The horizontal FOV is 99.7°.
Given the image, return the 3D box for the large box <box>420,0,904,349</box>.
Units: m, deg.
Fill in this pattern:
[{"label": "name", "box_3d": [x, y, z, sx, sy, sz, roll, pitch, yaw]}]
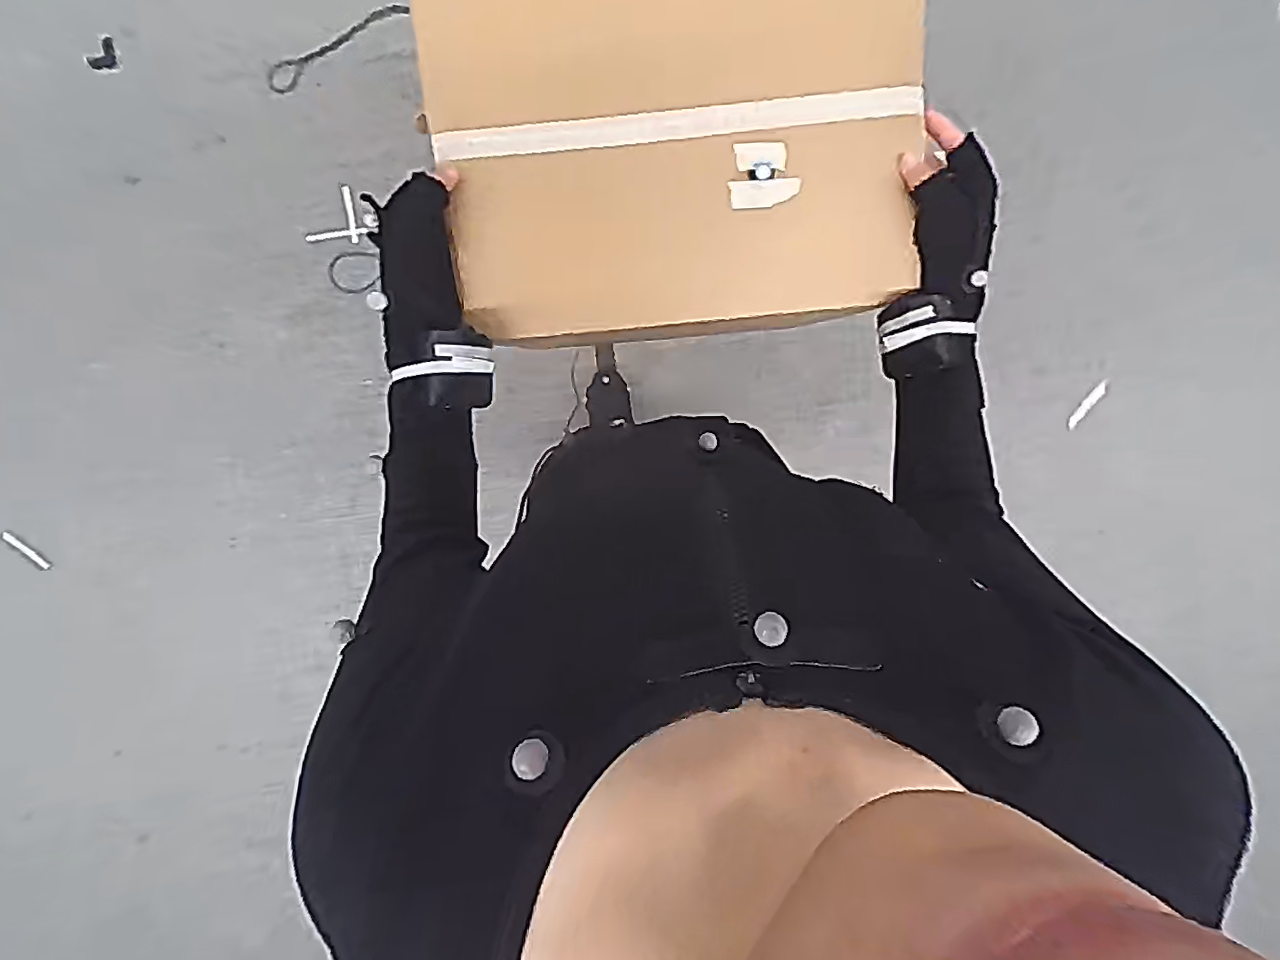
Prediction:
[{"label": "large box", "box_3d": [0.024, -0.331, 0.611, 0.408, 0.320, 0.320, -6, 103, 0]}]
